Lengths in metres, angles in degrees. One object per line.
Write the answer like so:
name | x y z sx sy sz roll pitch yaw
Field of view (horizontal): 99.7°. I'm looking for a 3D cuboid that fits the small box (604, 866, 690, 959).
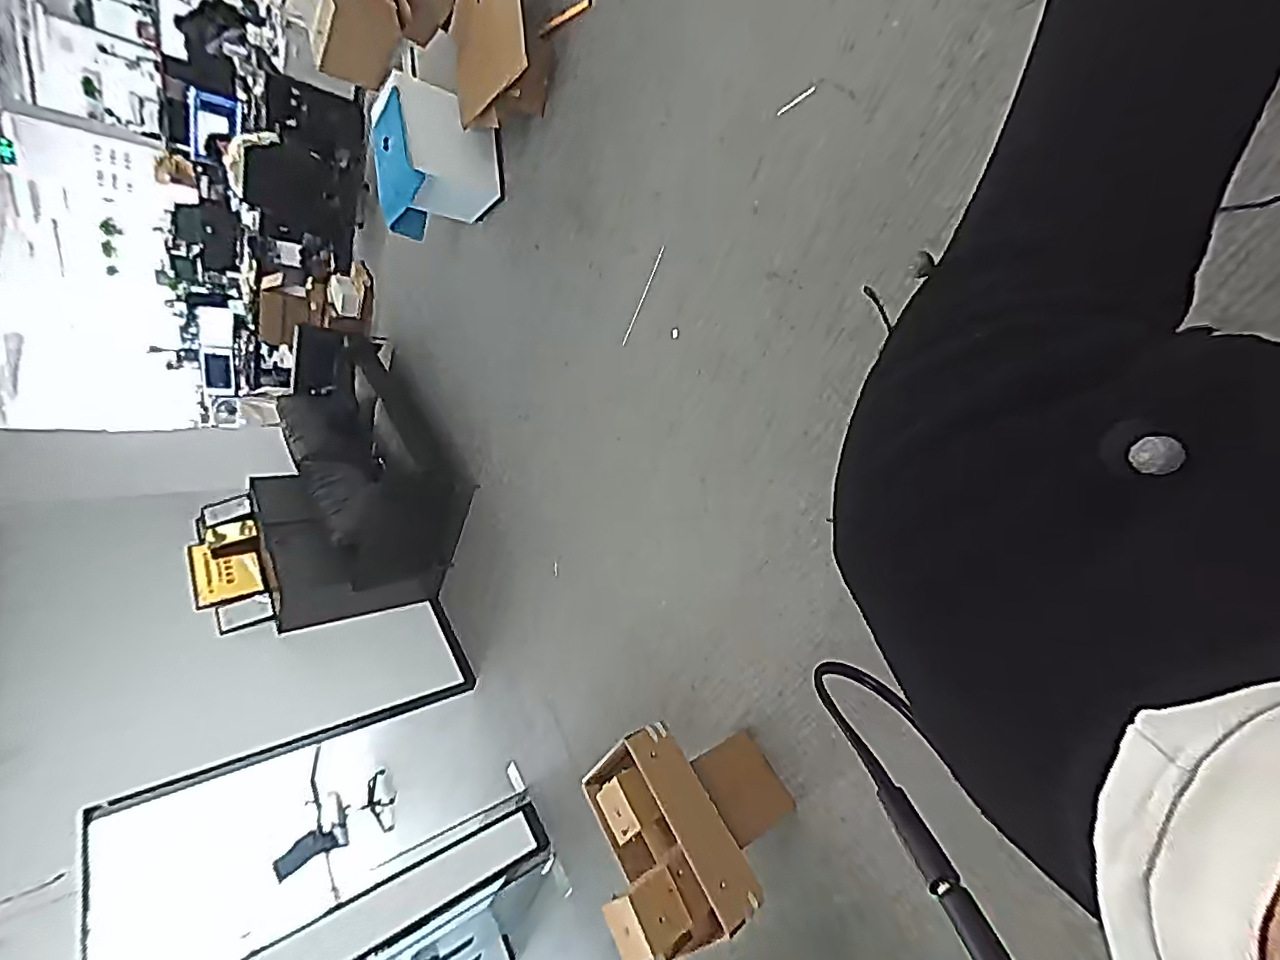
small box | 0.027 1.306 1.627 0.168 0.176 0.179 57 131 27
